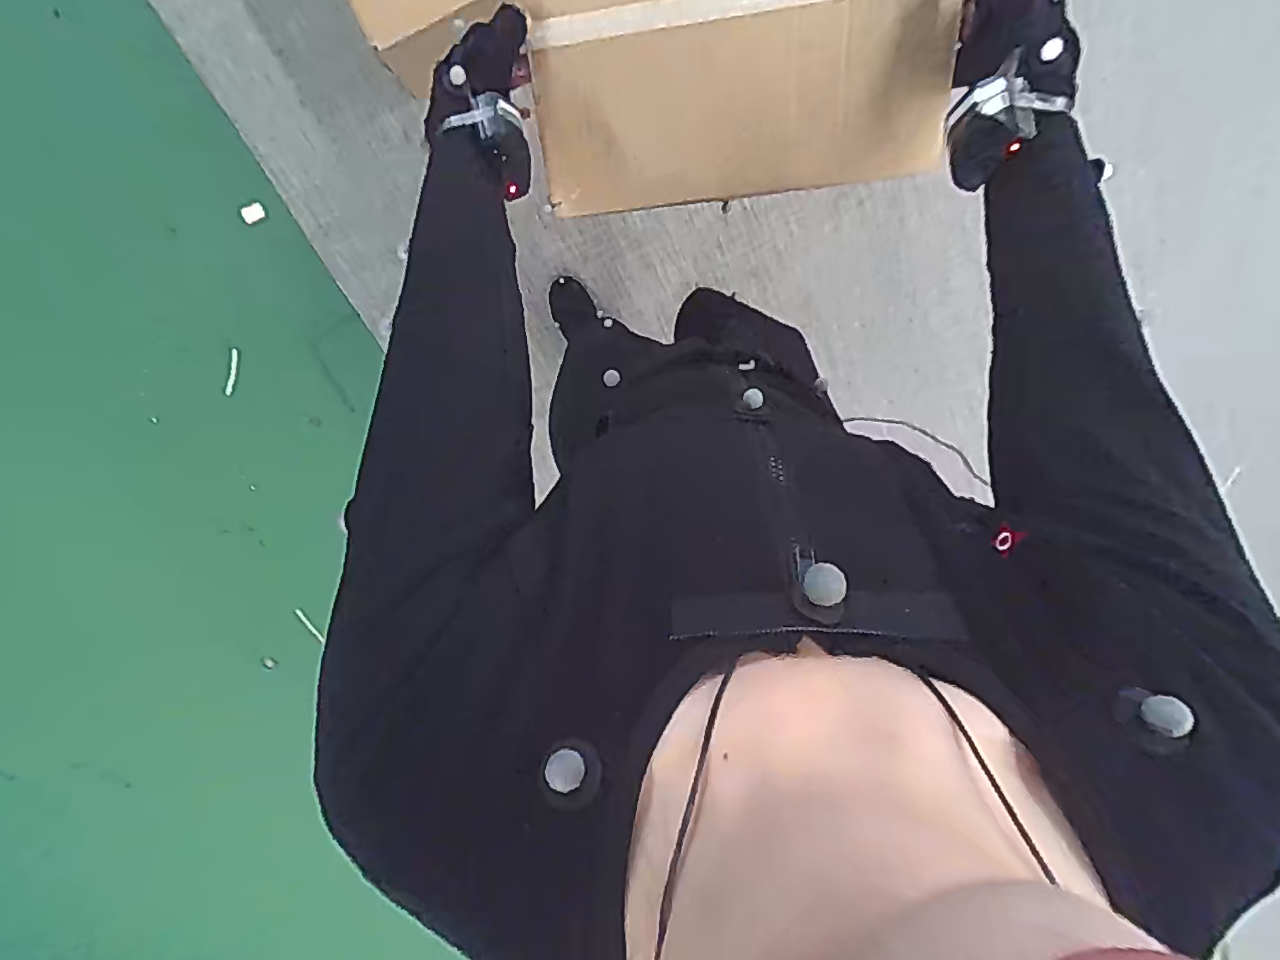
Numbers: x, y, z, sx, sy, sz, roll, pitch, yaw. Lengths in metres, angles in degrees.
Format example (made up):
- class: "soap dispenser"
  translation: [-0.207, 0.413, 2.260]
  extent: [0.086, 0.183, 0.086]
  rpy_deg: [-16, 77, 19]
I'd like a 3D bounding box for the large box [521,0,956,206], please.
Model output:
- class: "large box"
  translation: [0.097, -0.518, 0.625]
  extent: [0.408, 0.320, 0.320]
  rpy_deg: [-4, 117, 6]
